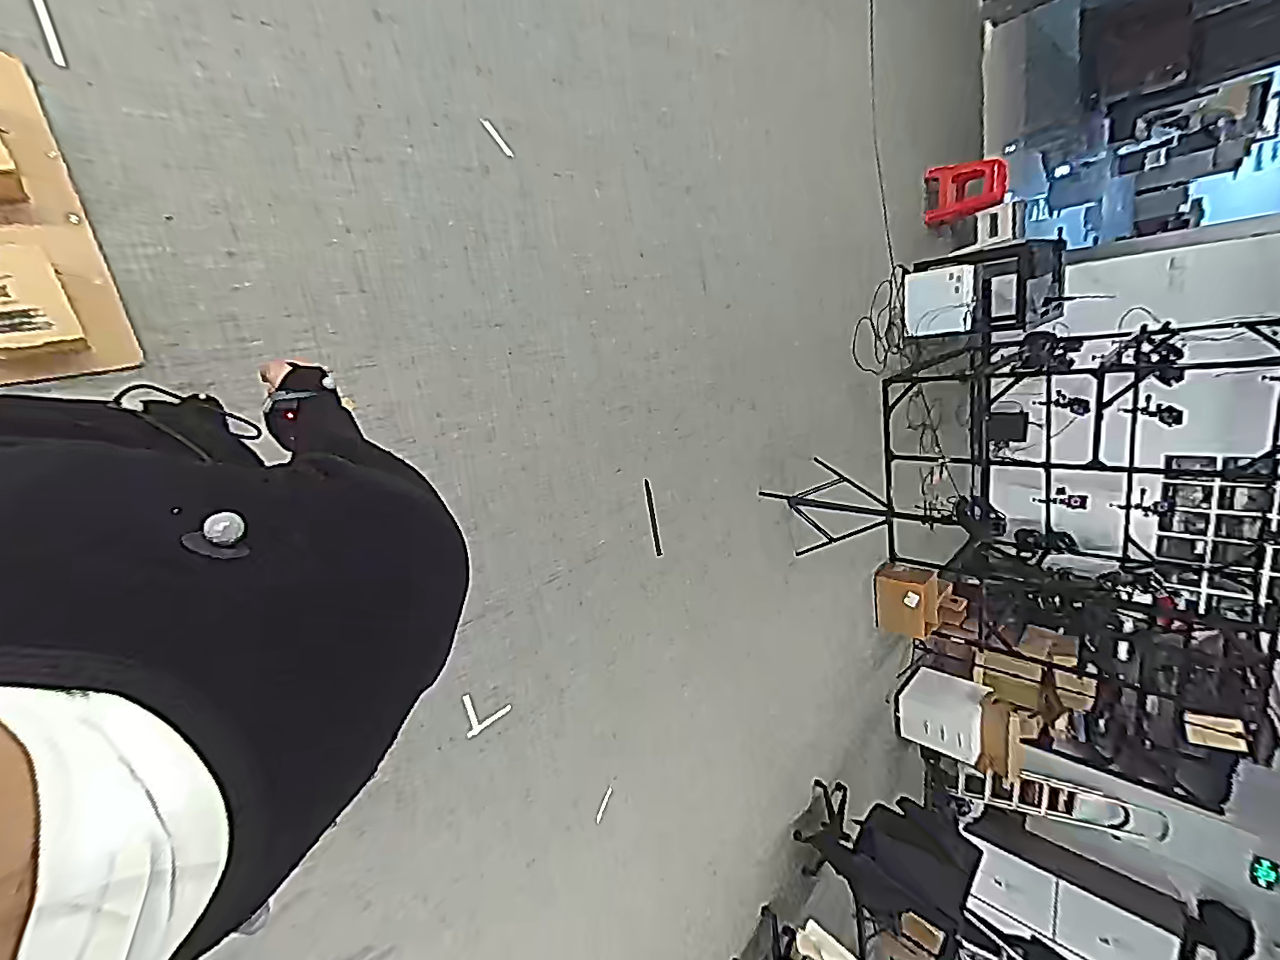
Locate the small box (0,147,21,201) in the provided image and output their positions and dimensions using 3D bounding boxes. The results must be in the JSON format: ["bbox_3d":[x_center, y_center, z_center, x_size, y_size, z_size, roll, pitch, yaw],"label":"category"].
[{"bbox_3d":[-1.242,-0.603,0.939,0.168,0.176,0.179,-28,113,-38],"label":"small box"}]
